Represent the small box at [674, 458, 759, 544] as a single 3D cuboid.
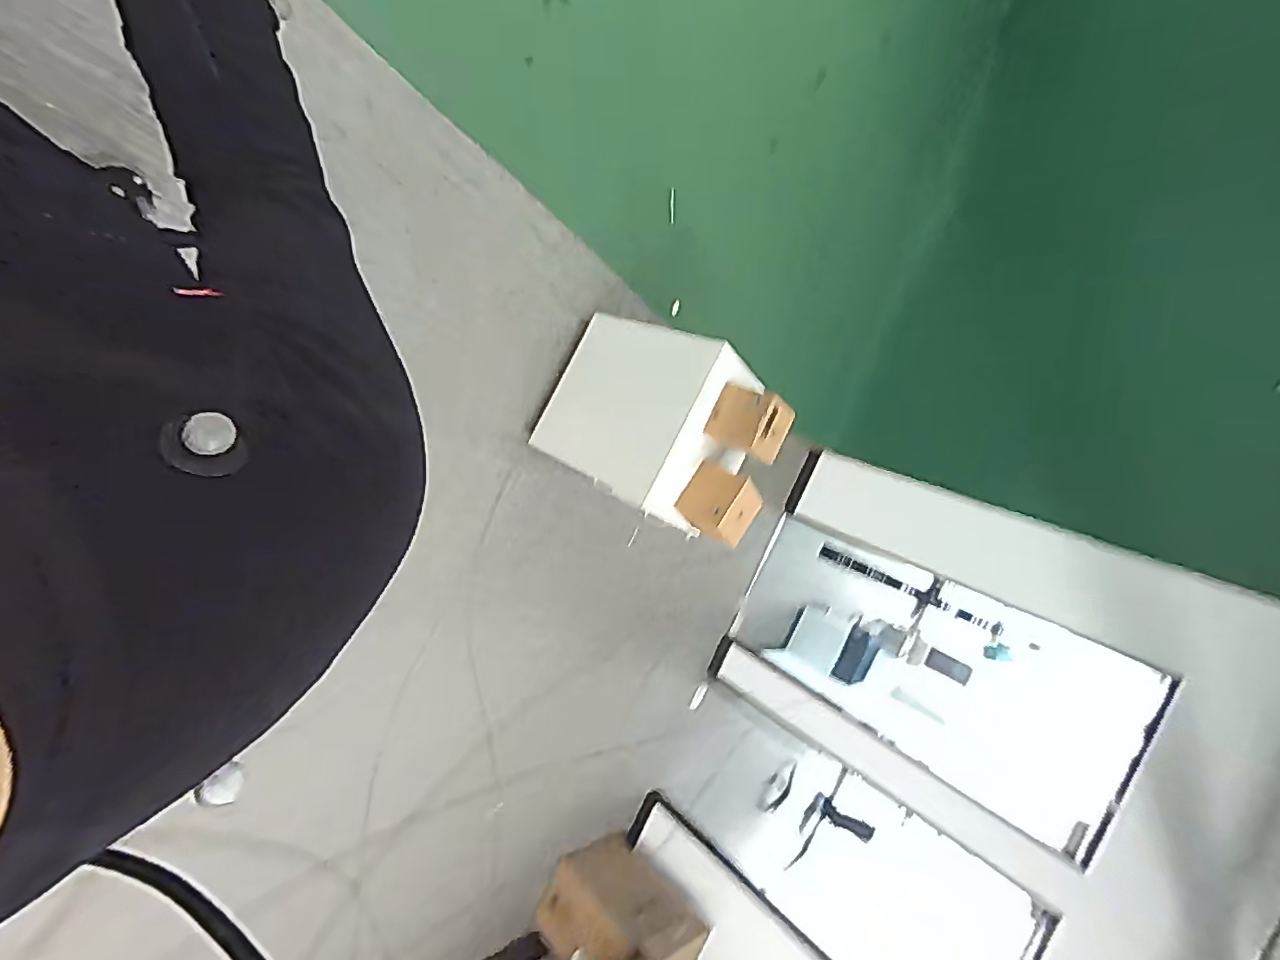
[{"bbox_3d":[0.230,0.059,1.634,0.179,0.176,0.168,-56,142,-11],"label":"small box"}]
